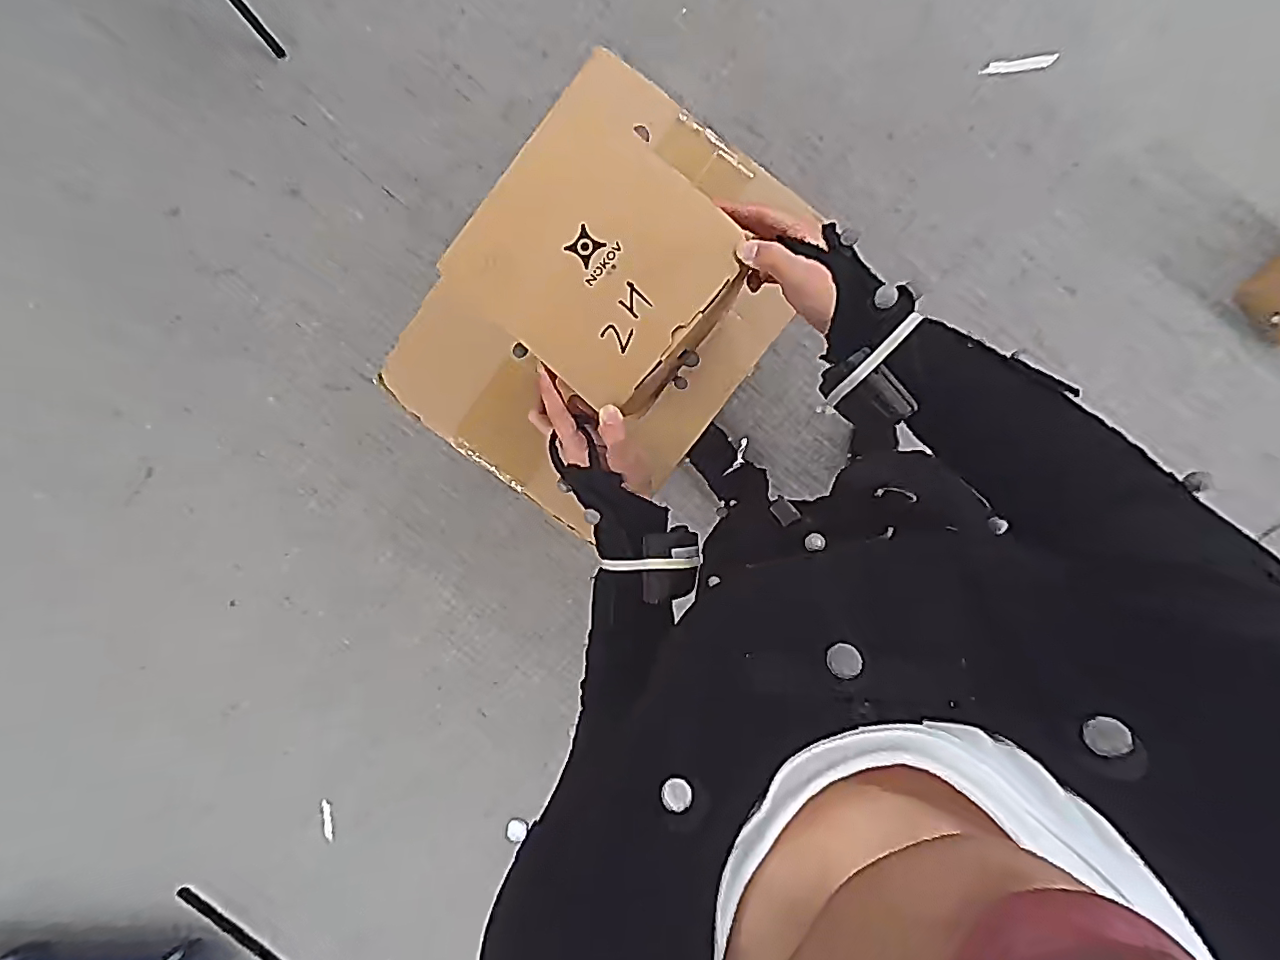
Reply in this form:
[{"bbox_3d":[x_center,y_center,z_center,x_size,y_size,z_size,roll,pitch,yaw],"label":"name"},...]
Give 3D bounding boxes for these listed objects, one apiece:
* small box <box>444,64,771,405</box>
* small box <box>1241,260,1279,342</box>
[{"bbox_3d":[-0.019,-0.177,0.457,0.179,0.176,0.168,42,100,-1],"label":"small box"},{"bbox_3d":[1.442,-0.407,1.119,0.179,0.176,0.168,-43,92,10],"label":"small box"}]
